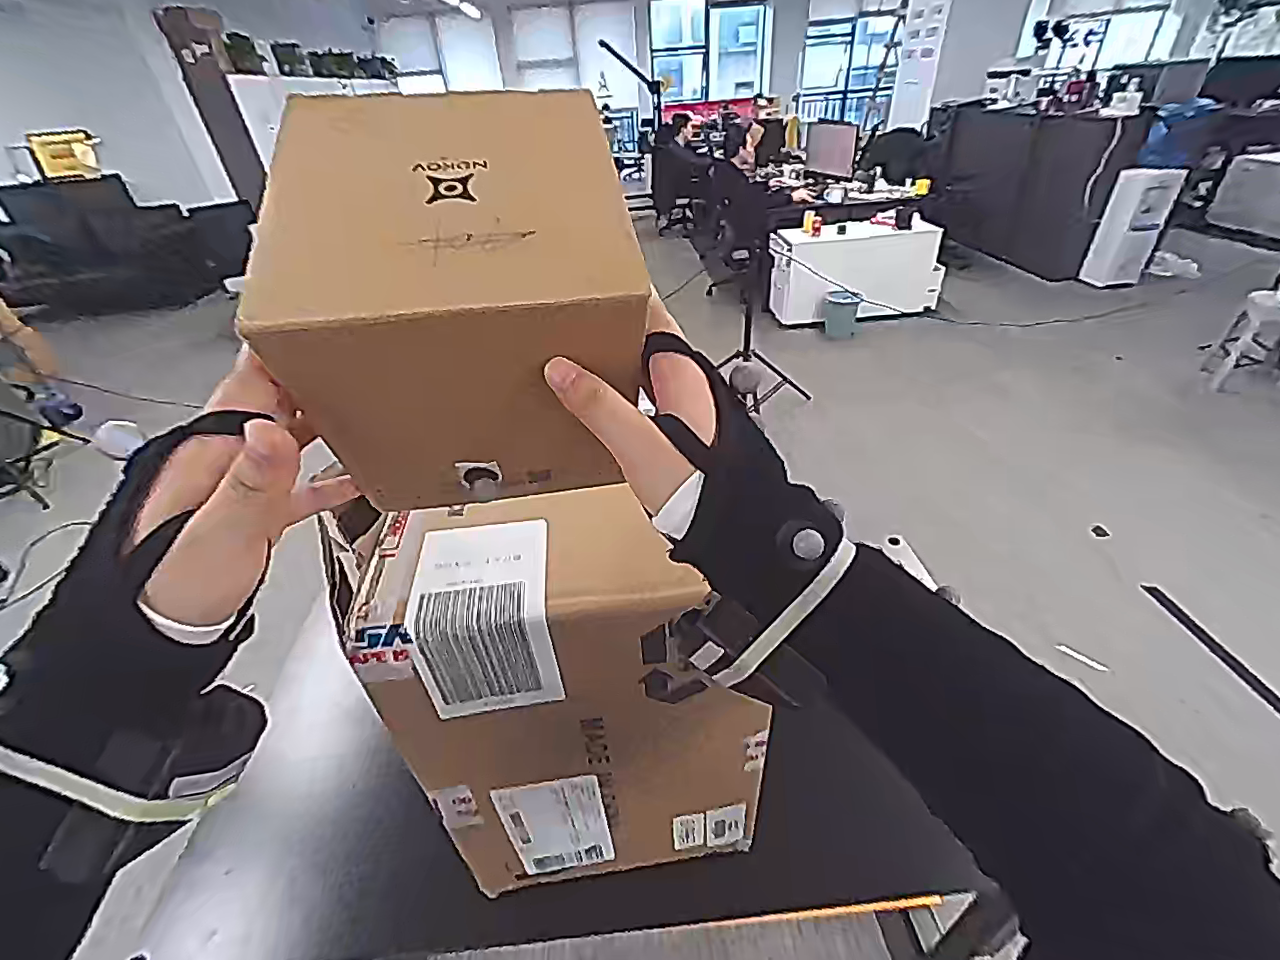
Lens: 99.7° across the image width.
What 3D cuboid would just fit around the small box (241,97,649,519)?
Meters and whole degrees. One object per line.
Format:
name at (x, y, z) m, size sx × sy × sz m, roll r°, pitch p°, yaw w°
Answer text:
small box at (-0.097, -0.097, 0.330) m, size 0.168 × 0.176 × 0.179 m, roll -9°, pitch 62°, yaw -9°
